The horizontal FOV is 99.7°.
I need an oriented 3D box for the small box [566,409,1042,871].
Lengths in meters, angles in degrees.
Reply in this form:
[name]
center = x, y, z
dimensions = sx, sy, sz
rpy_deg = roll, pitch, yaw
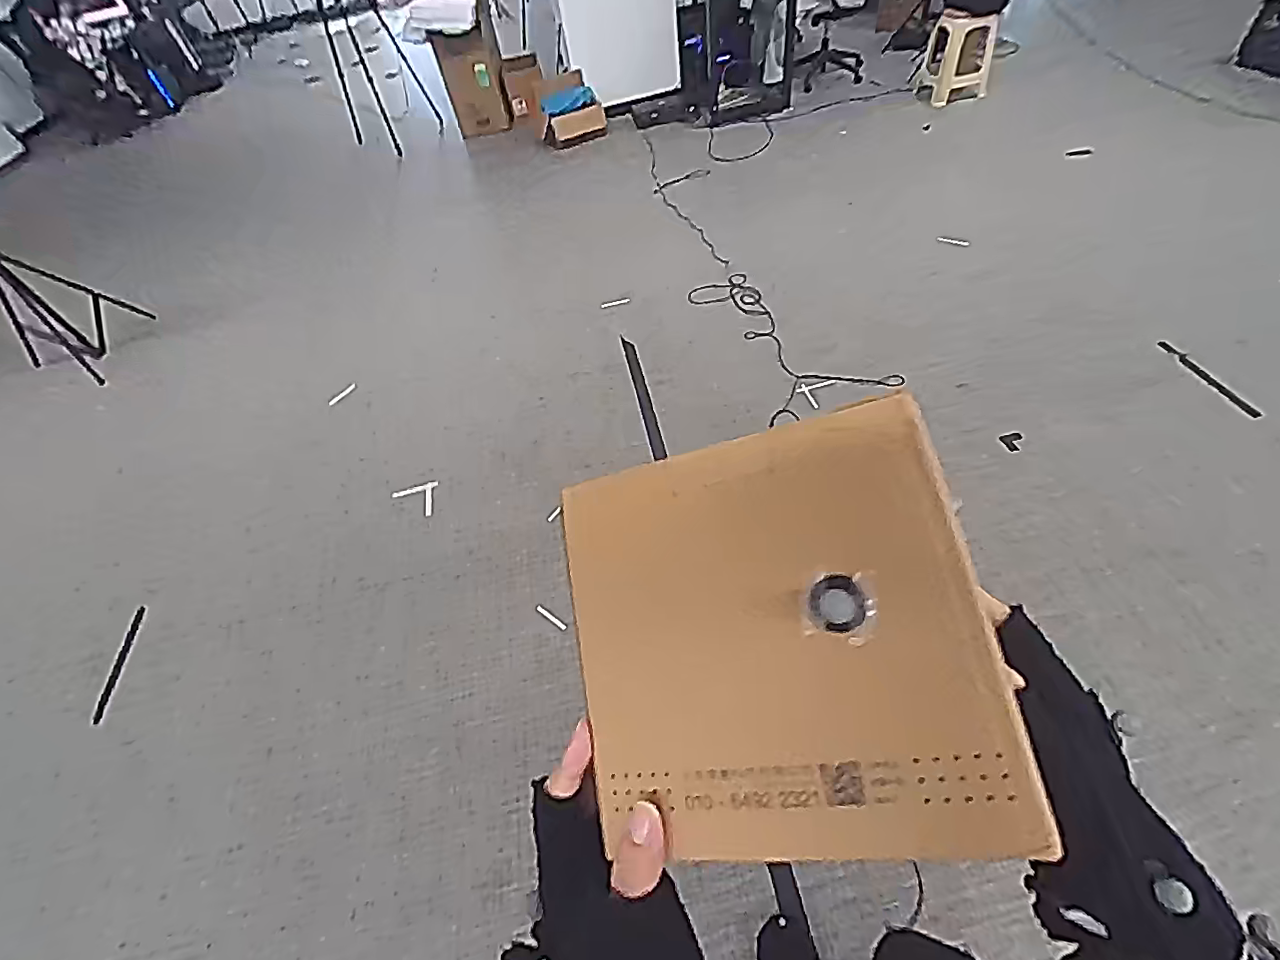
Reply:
[small box]
center = 0.083, 0.083, 0.296
dimensions = 0.168, 0.179, 0.176
rpy_deg = -15, 75, 21
